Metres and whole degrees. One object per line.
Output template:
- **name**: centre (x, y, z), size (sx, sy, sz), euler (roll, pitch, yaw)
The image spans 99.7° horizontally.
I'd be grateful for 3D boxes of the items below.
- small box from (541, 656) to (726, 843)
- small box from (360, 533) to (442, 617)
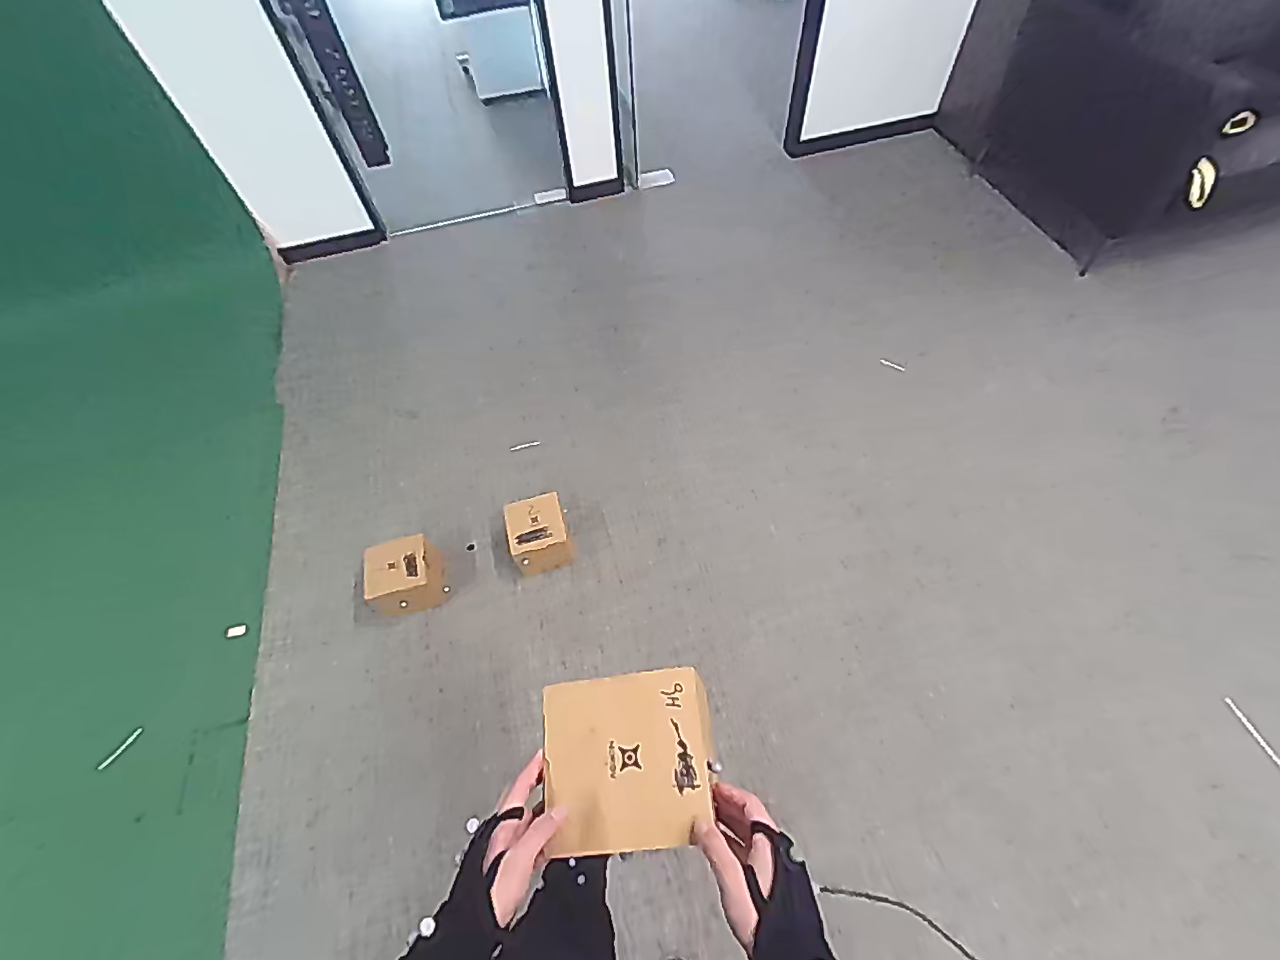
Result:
- **small box**: centre (-0.002, 0.312, 0.625), size (0.179, 0.176, 0.168), euler (-9, 60, 6)
- **small box**: centre (-0.695, 0.282, 1.589), size (0.179, 0.176, 0.168), euler (-15, 58, -5)
